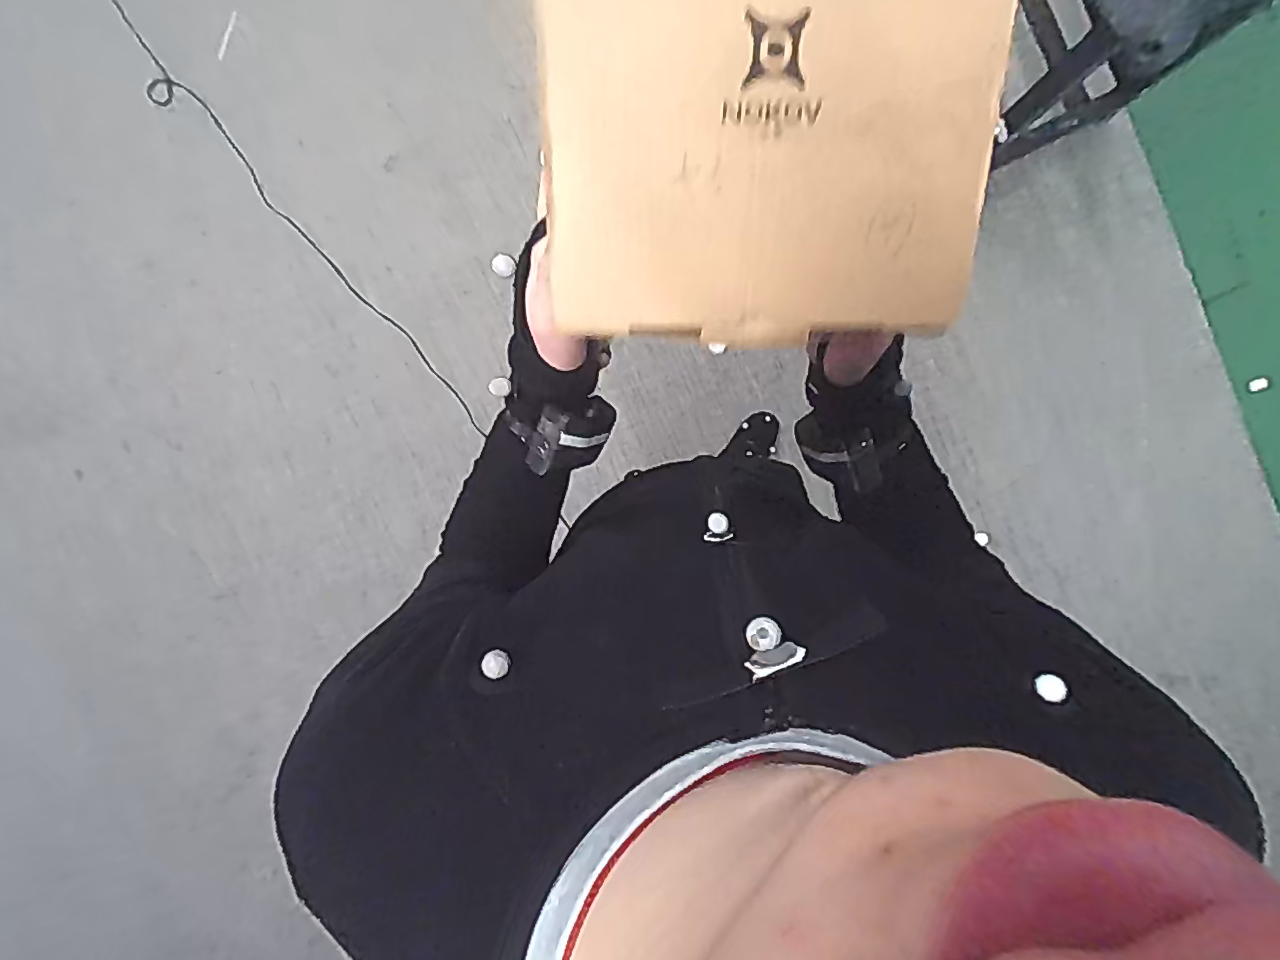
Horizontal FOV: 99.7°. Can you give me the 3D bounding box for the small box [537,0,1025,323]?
[{"bbox_3d":[0.043,-0.172,0.260,0.168,0.176,0.179,-1,109,-4],"label":"small box"}]
